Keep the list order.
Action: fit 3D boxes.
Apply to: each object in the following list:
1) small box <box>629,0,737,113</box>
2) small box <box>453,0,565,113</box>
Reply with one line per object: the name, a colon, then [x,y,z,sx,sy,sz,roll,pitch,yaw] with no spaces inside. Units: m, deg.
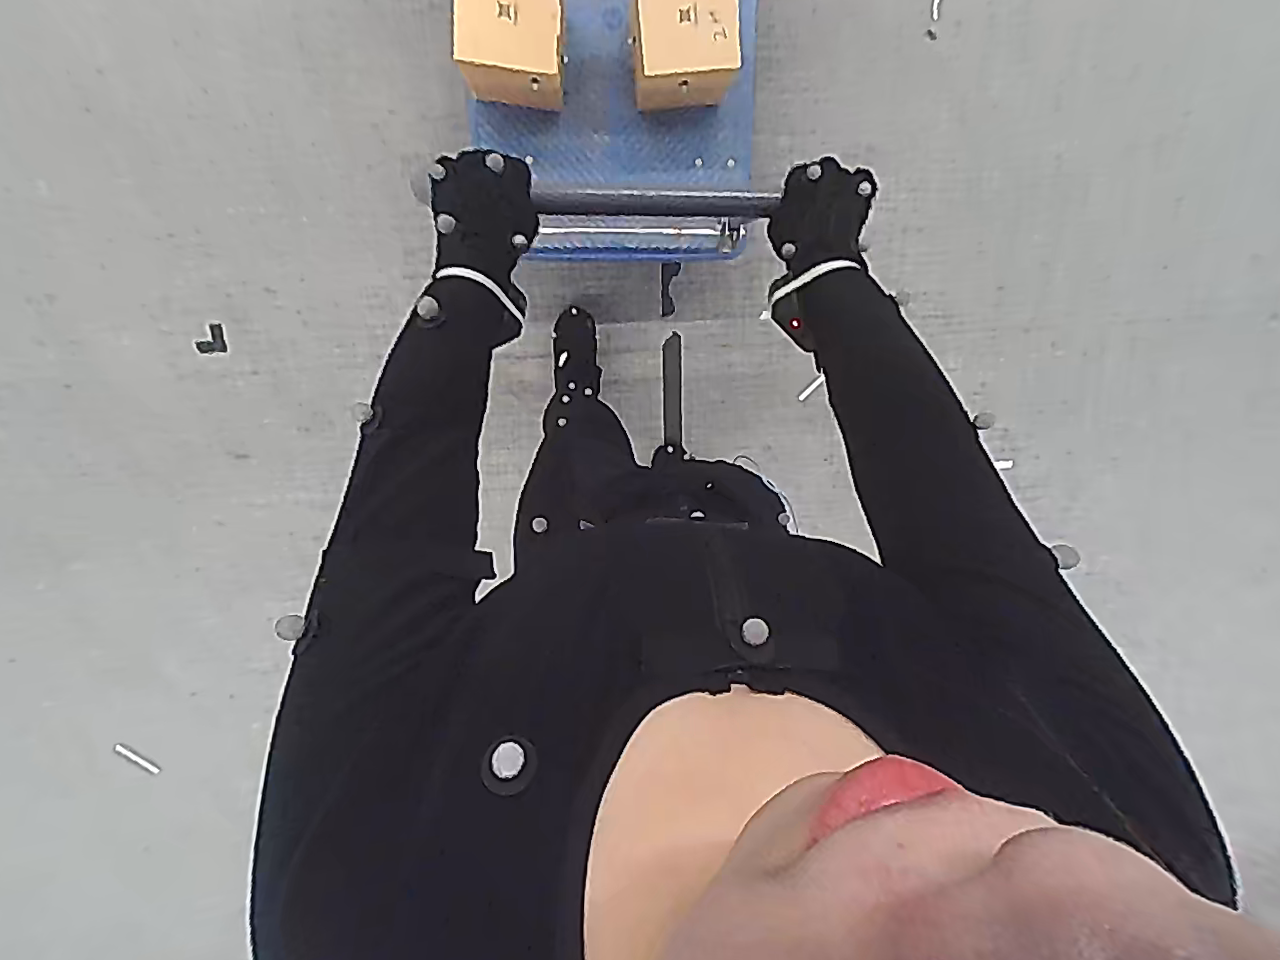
small box: [0.074,-0.811,1.009,0.179,0.176,0.168,-7,107,-3]
small box: [-0.232,-0.799,0.985,0.179,0.176,0.168,3,105,-8]
